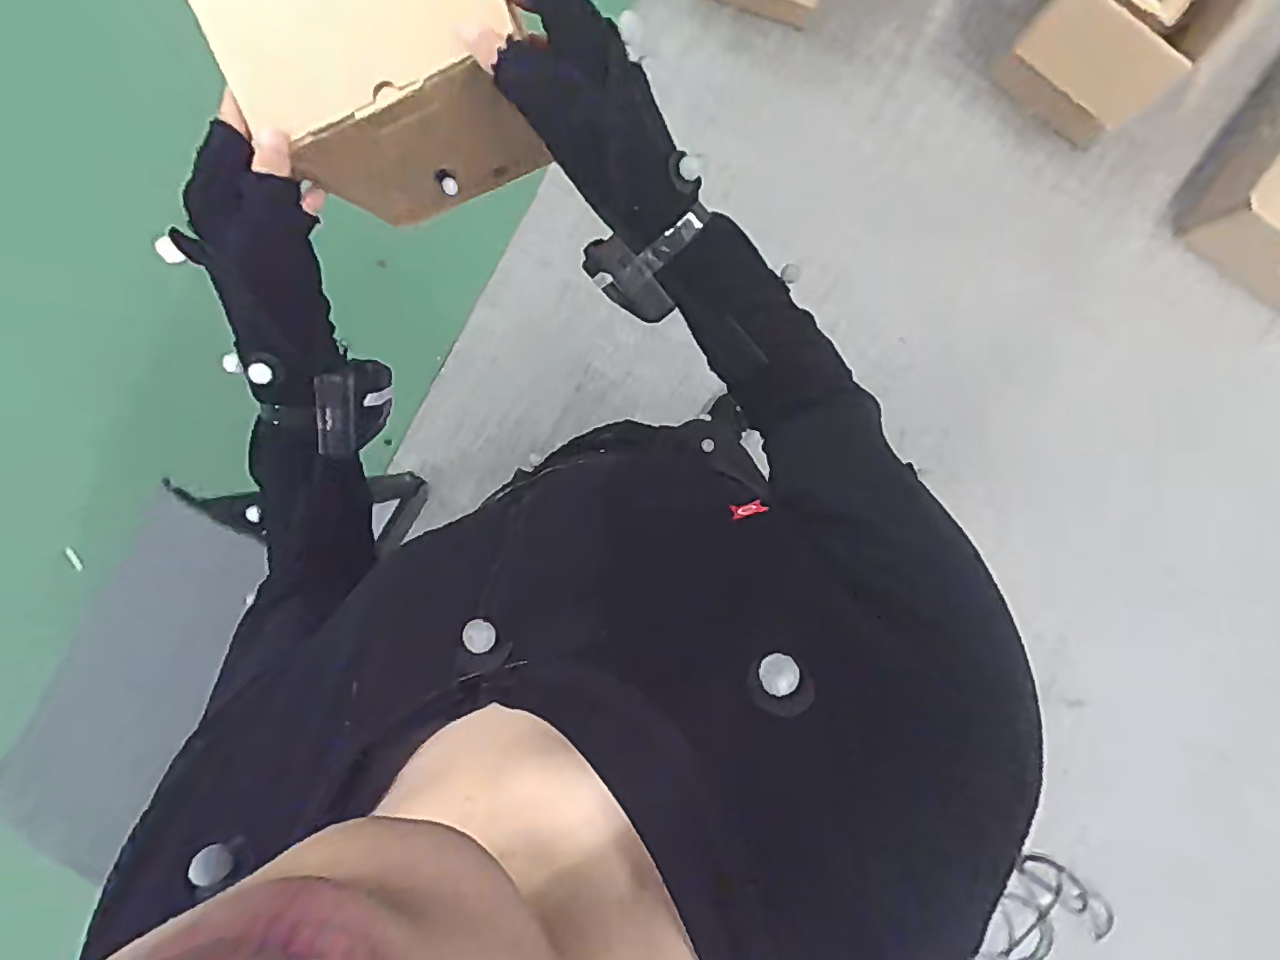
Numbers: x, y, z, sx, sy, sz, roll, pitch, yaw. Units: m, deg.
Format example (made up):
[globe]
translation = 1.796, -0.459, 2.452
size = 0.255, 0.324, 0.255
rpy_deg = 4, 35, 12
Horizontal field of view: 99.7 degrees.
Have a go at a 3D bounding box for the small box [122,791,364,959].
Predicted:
[small box]
translation = -0.521, 0.579, 0.734
size = 0.168, 0.176, 0.179
rpy_deg = 39, 95, 0
